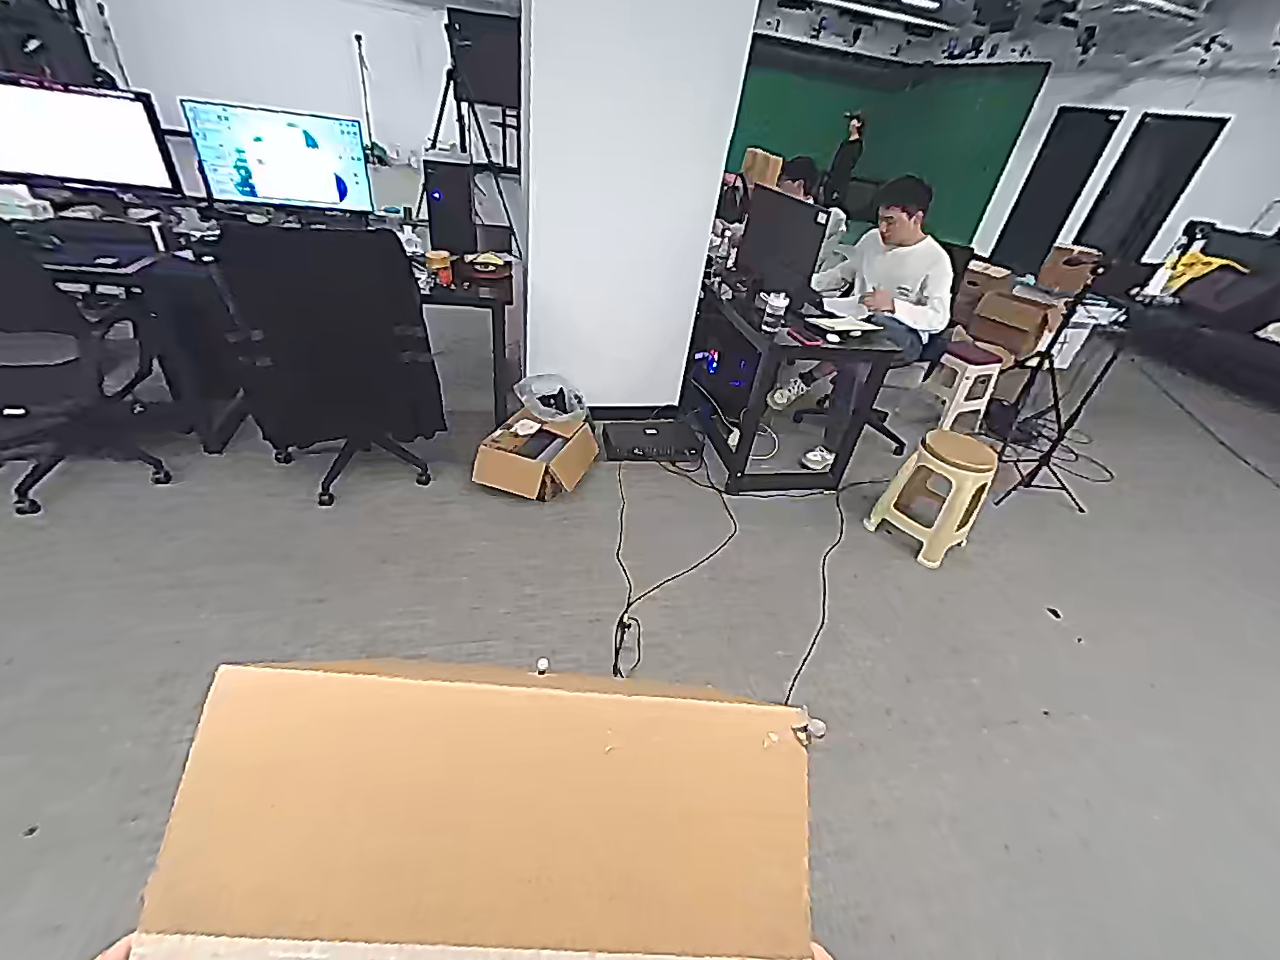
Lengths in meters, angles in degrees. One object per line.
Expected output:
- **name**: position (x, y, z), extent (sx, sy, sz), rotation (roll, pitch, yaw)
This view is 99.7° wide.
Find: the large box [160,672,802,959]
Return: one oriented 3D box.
- **large box**: position (-0.107, 0.344, 0.480), extent (0.408, 0.320, 0.320), rotation (6, 73, -5)
